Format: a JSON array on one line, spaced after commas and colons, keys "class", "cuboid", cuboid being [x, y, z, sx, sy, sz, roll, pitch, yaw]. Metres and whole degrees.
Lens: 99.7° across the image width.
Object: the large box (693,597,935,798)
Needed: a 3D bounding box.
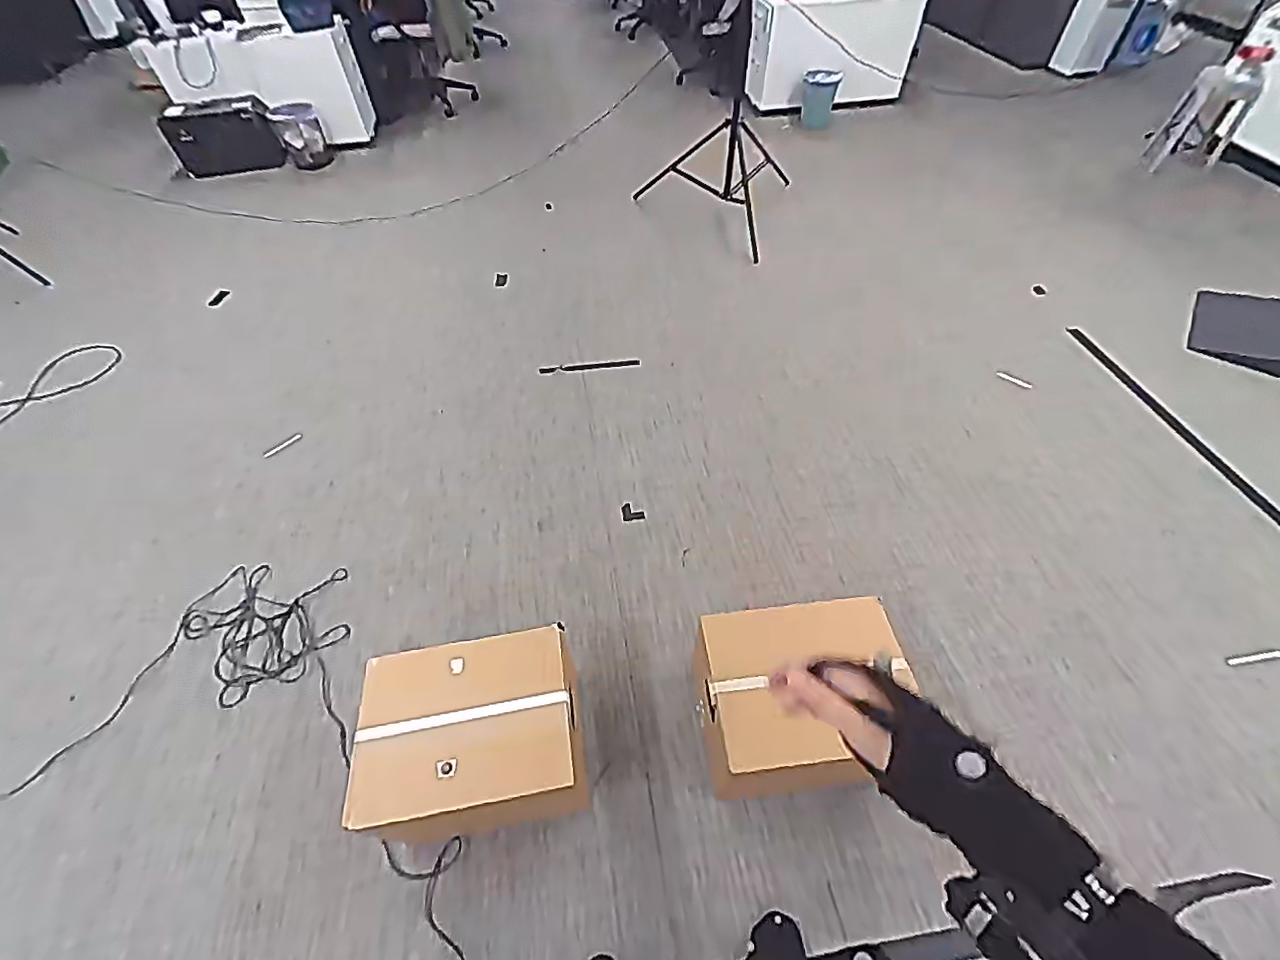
[{"class": "large box", "cuboid": [0.351, 0.494, 1.222, 0.408, 0.320, 0.320, -5, 52, -4]}]
